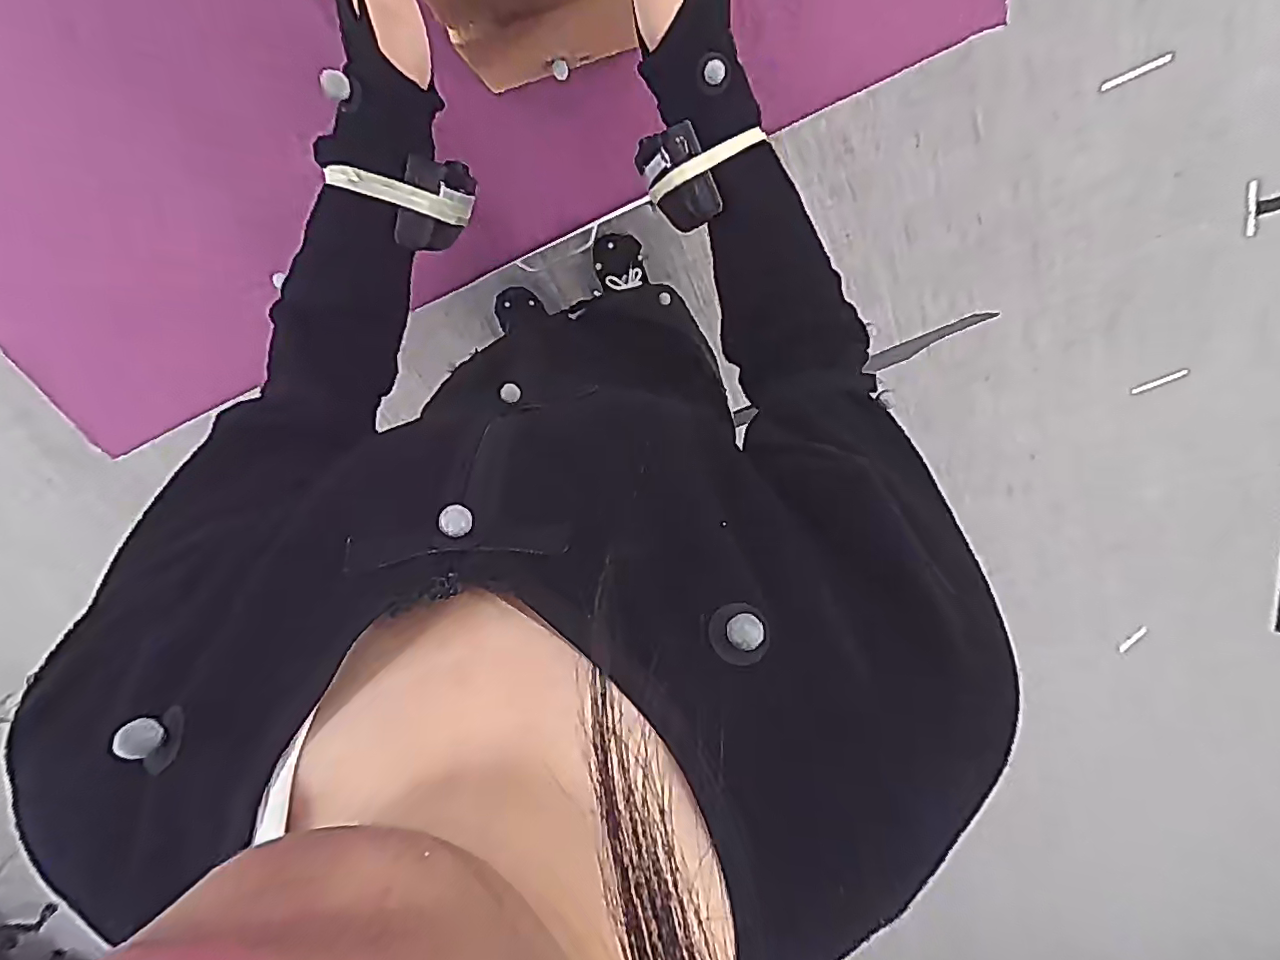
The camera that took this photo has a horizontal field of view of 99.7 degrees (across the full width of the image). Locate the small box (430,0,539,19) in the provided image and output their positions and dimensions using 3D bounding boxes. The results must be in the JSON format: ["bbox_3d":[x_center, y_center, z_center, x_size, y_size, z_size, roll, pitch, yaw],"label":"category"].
[{"bbox_3d":[-0.083,-0.413,0.315,0.179,0.176,0.168,-12,116,4],"label":"small box"}]

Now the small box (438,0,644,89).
[{"bbox_3d":[-0.099,-0.476,0.464,0.168,0.176,0.179,-14,116,4],"label":"small box"}]
